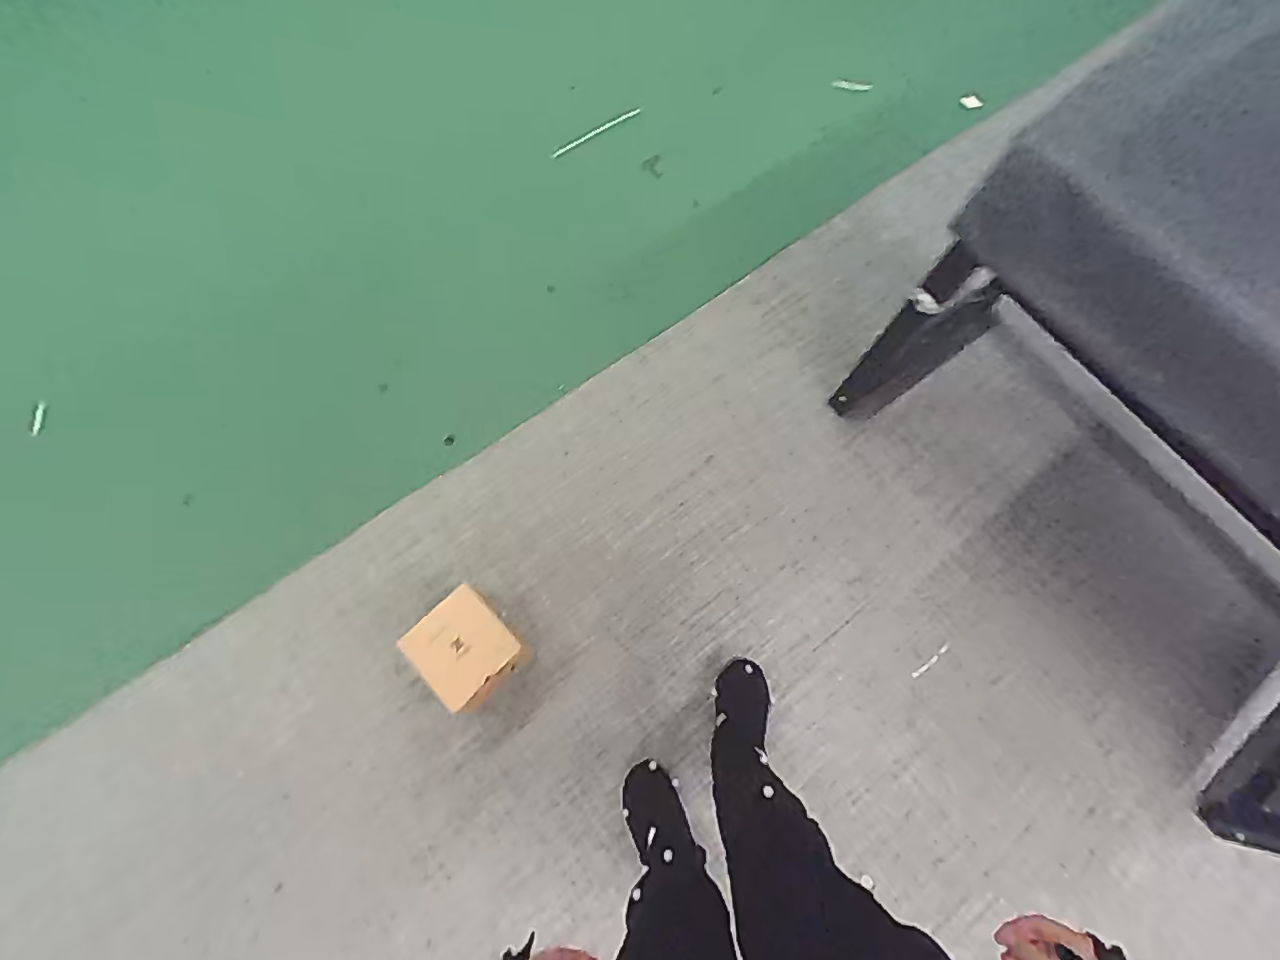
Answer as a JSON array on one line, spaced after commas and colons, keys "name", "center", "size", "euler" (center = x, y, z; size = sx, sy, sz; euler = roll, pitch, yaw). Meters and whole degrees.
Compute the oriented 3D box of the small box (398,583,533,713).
[{"name": "small box", "center": [-0.336, 0.333, 1.082], "size": [0.179, 0.176, 0.168], "euler": [43, 75, 13]}]
